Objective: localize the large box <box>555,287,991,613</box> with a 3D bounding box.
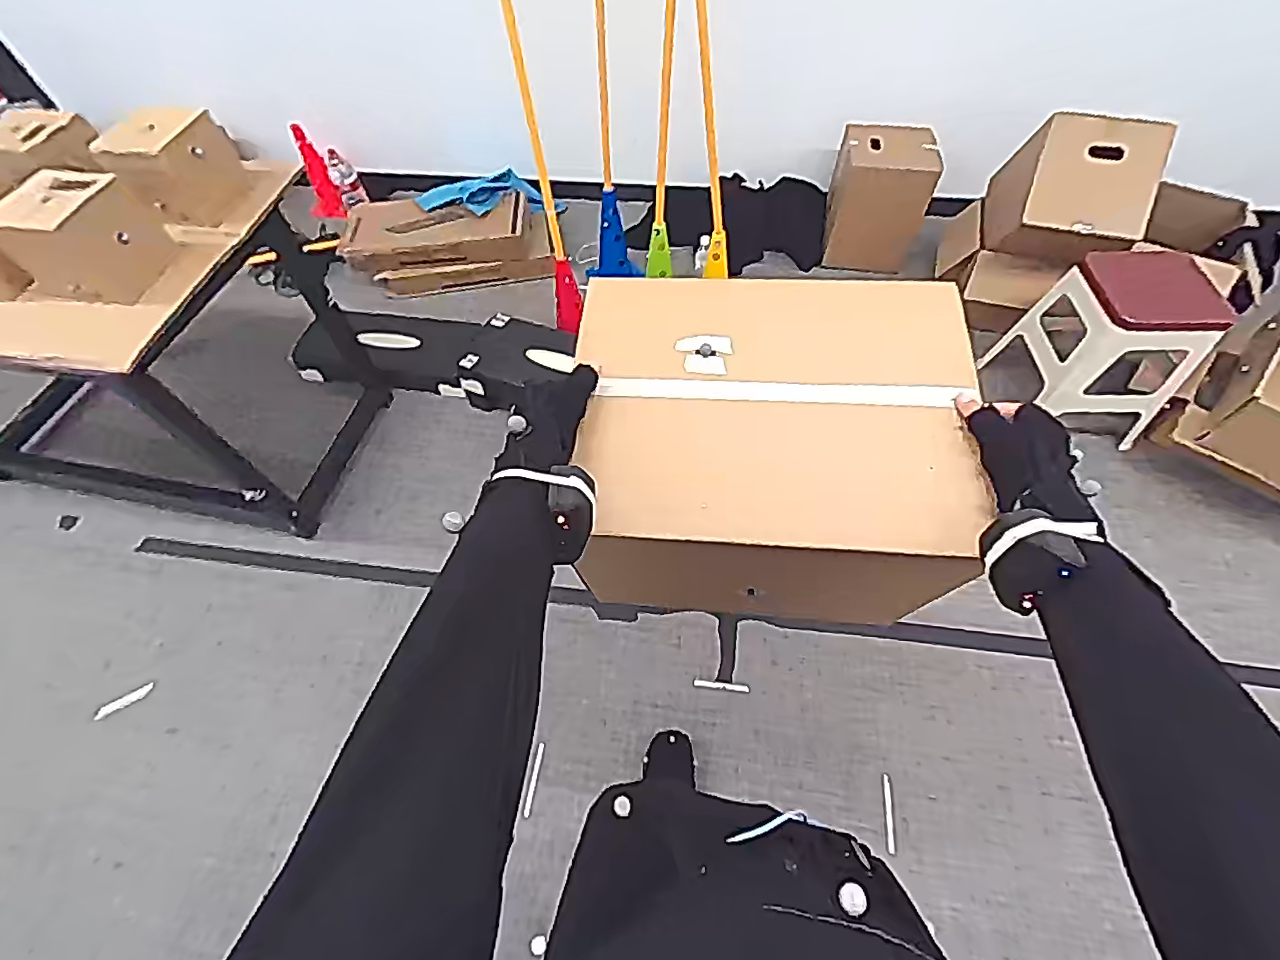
[{"bbox_3d":[0.143,-0.021,0.693,0.408,0.320,0.320,3,64,7],"label":"large box"}]
